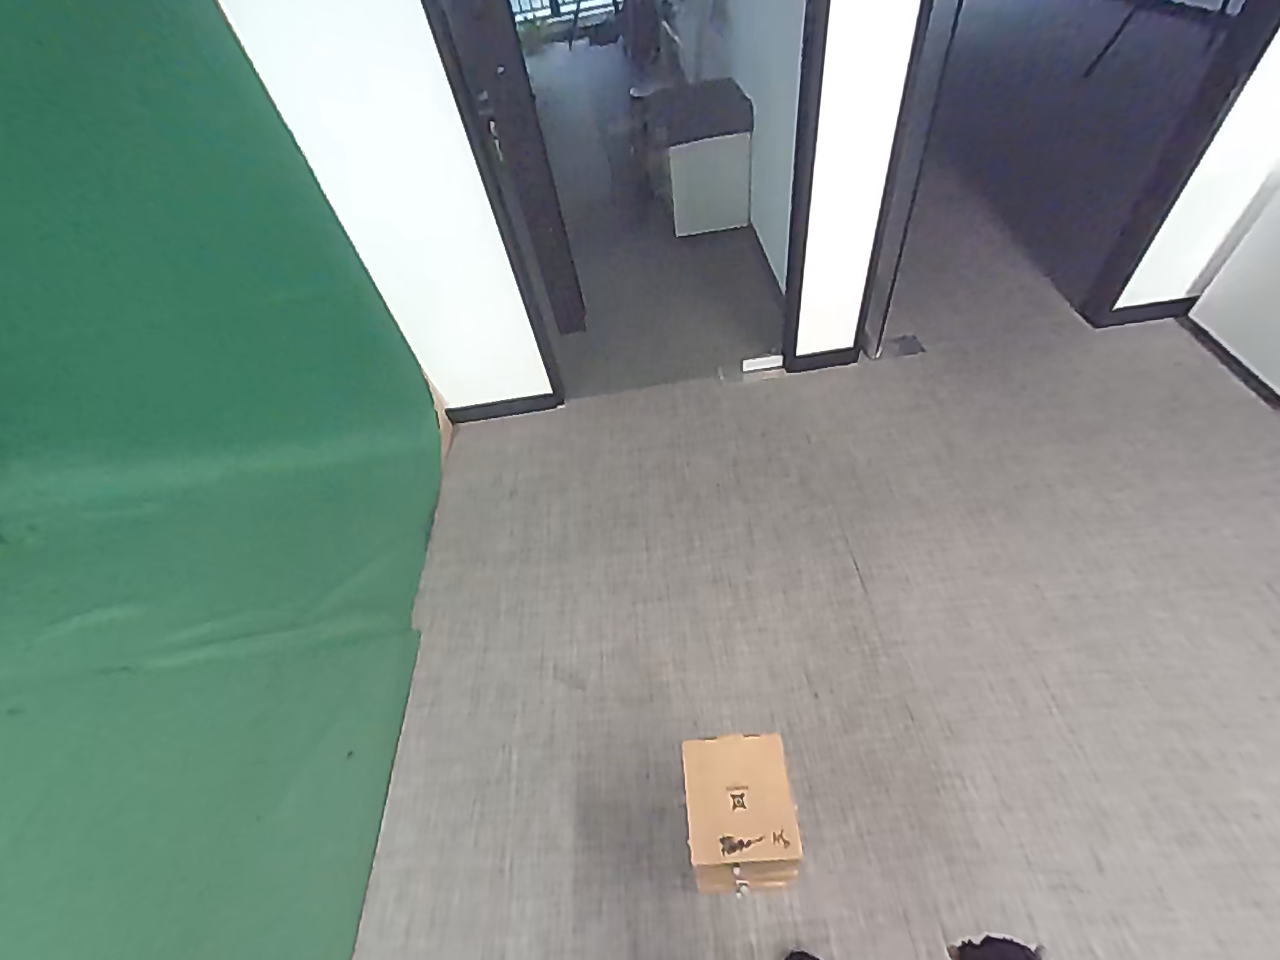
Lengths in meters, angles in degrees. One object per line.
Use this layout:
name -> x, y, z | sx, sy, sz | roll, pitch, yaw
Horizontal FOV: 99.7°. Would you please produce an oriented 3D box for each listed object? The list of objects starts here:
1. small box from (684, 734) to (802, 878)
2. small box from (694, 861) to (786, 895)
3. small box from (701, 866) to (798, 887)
small box -> 0.166, 0.550, 0.911 | 0.168, 0.176, 0.179 | -7, 48, 5
small box -> 0.203, 0.771, 1.147 | 0.179, 0.176, 0.168 | -7, 48, 6
small box -> 0.196, 0.658, 1.031 | 0.168, 0.176, 0.179 | -8, 49, 6
